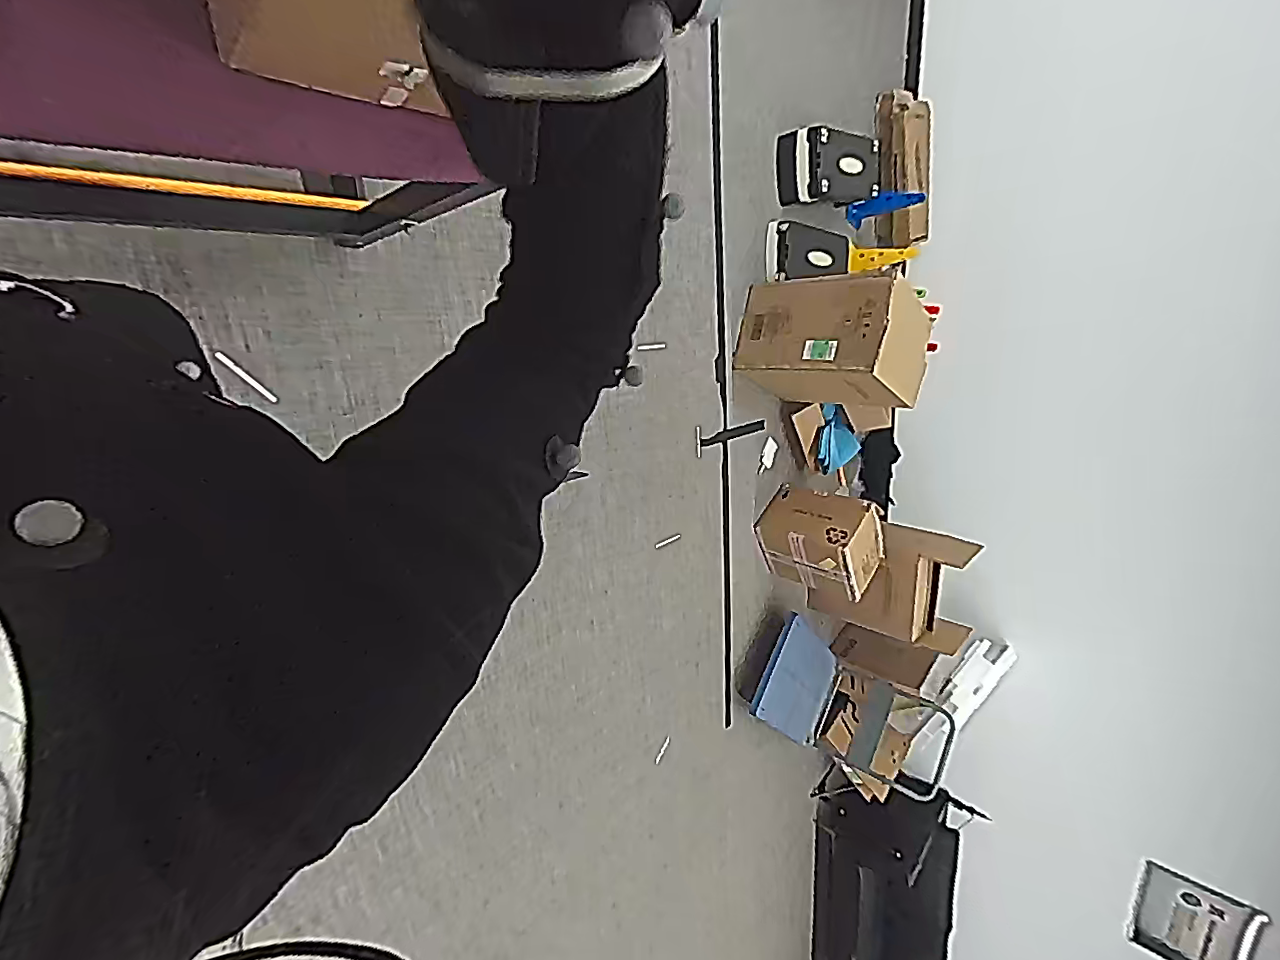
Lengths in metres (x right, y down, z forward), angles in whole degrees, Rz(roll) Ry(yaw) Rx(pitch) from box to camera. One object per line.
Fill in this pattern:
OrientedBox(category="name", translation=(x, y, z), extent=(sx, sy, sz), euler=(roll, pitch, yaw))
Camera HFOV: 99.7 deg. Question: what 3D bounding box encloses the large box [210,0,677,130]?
OrientedBox(category="large box", translation=(-0.193, -0.586, 0.453), extent=(0.320, 0.320, 0.408), euler=(-20, 111, -44))
